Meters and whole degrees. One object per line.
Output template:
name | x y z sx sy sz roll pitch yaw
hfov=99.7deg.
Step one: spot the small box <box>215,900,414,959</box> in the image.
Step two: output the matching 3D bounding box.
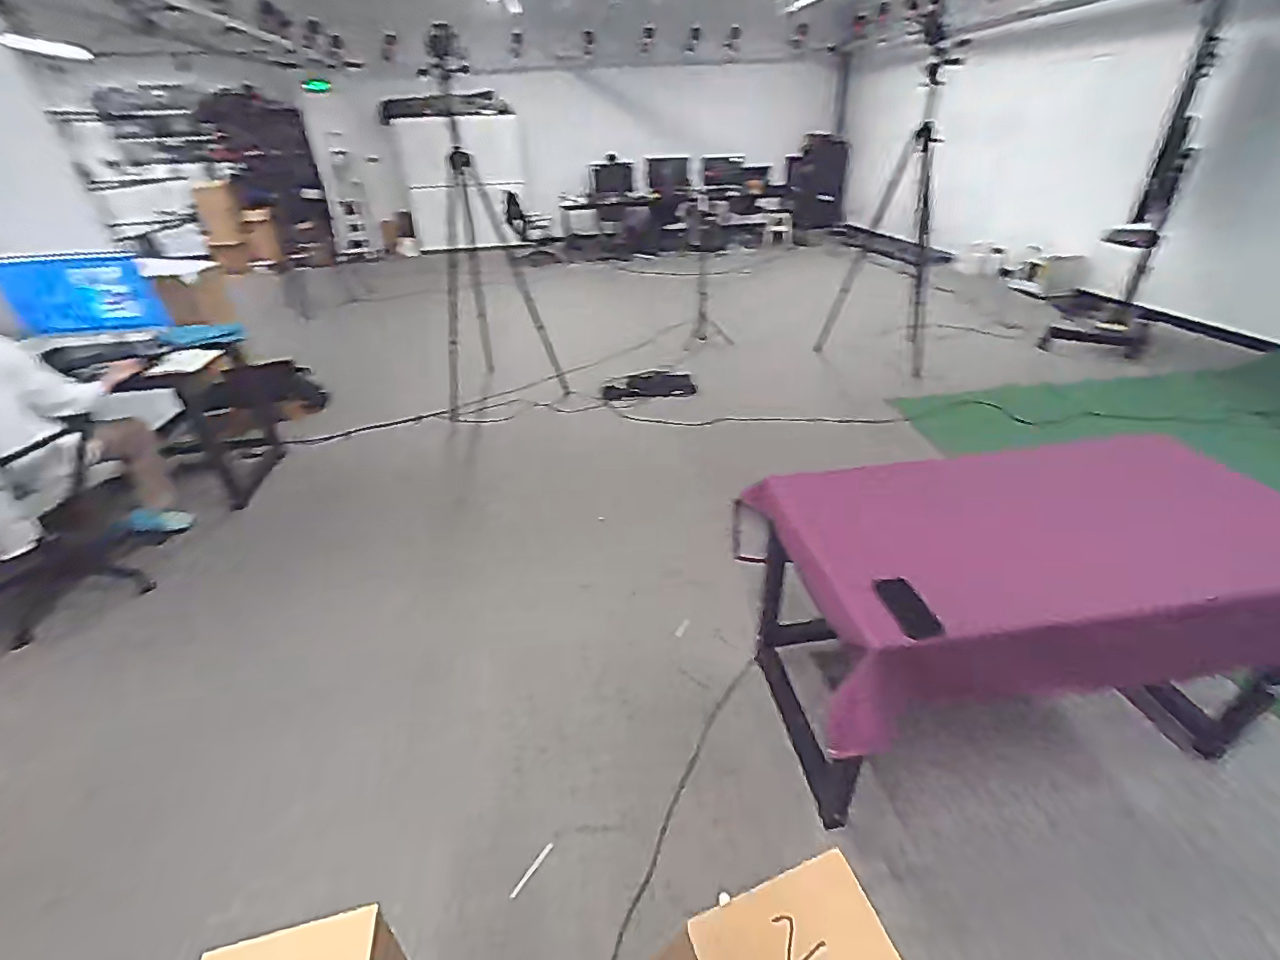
small box | -0.321 0.563 0.521 0.168 0.176 0.179 -8 29 -10
